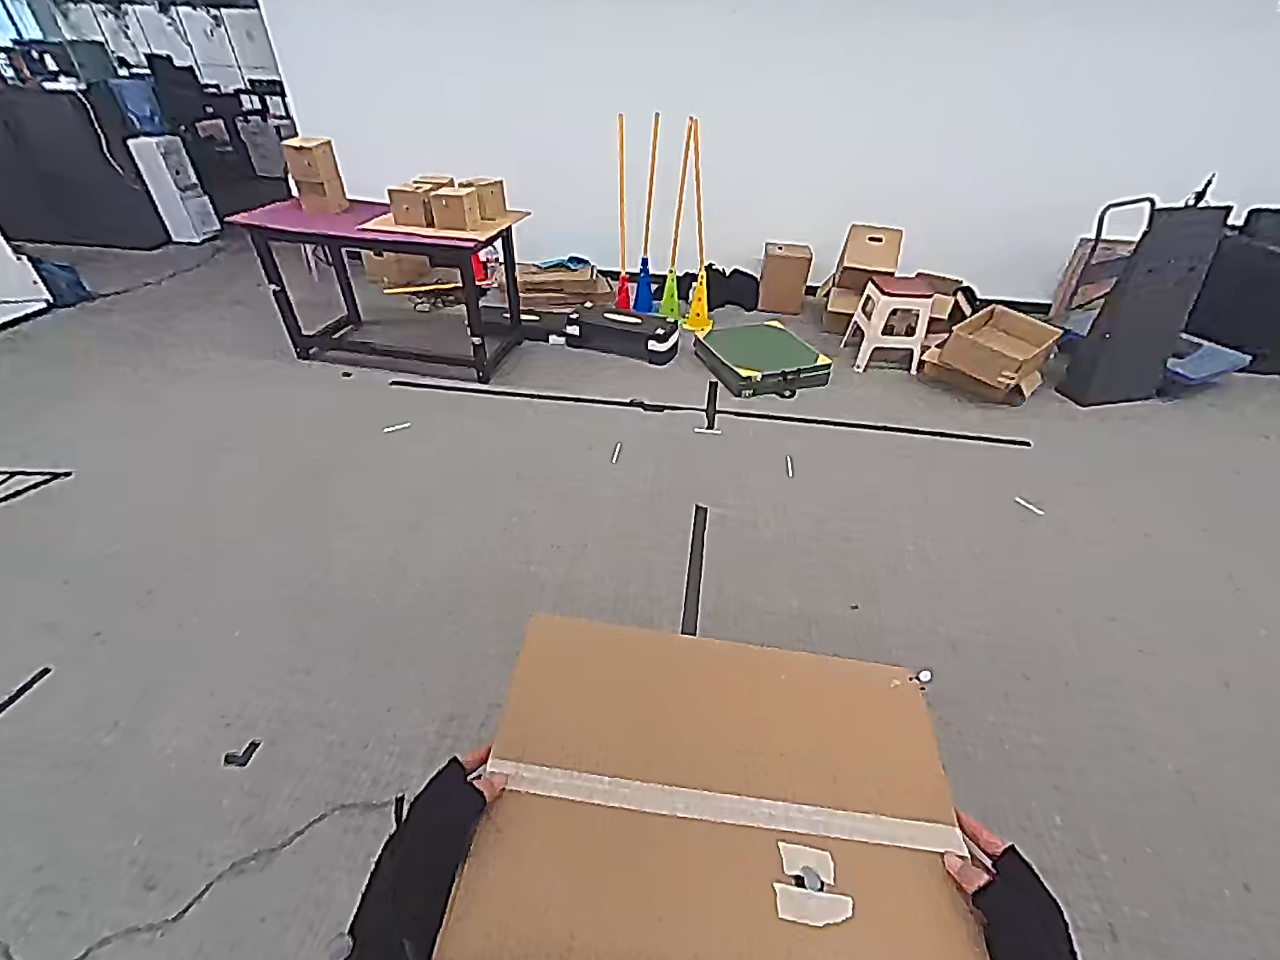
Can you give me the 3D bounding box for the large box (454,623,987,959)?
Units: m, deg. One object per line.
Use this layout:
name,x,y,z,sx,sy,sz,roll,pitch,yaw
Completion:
large box,0.059,0.387,0.573,0.408,0.320,0.320,8,44,0
